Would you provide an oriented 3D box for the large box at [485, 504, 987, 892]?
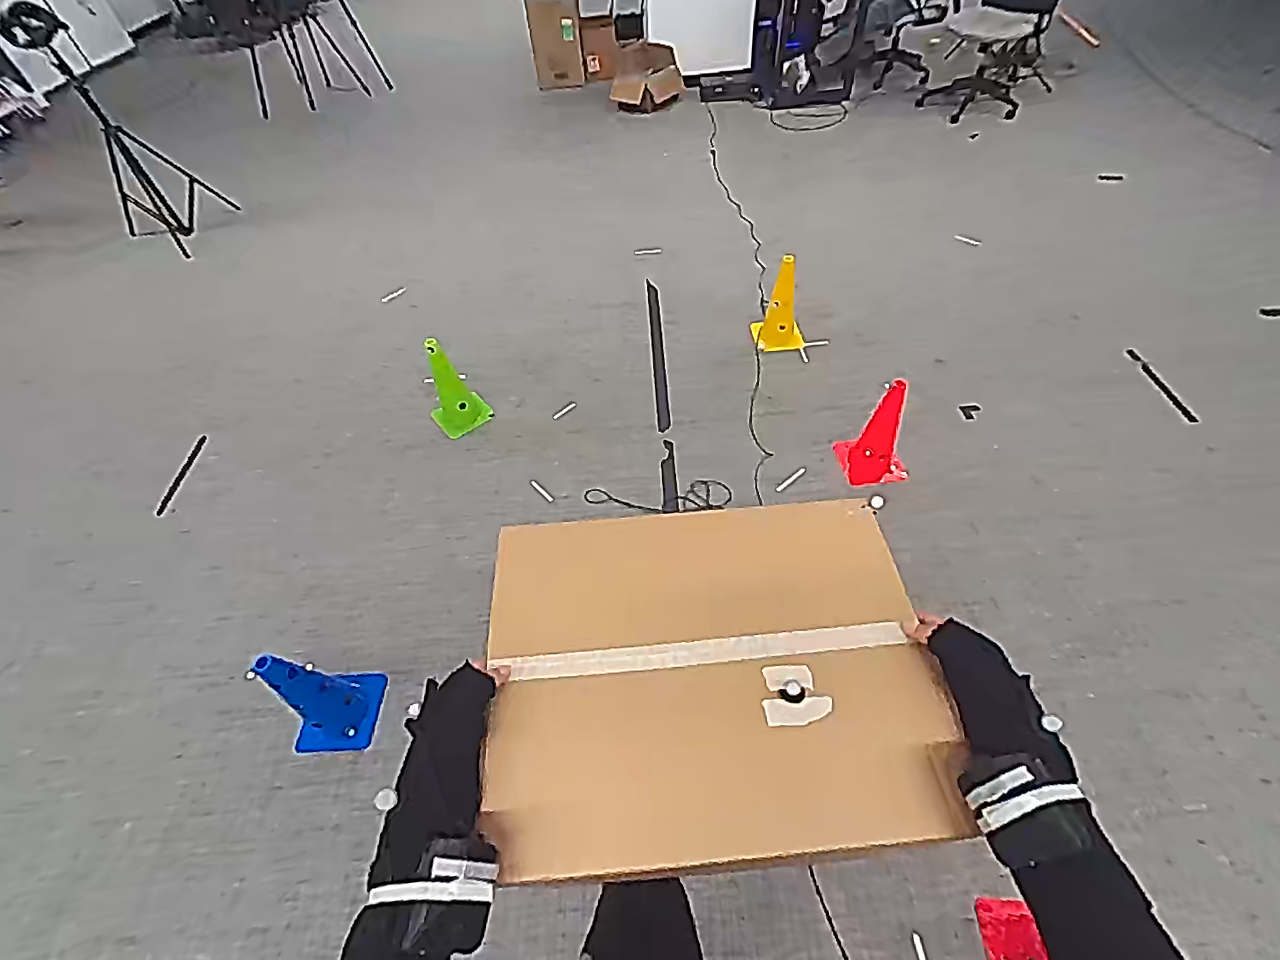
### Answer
[{"bbox_3d":[0.065,0.255,0.621,0.408,0.320,0.320,-5,52,-2],"label":"large box"}]

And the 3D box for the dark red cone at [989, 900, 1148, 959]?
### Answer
[{"bbox_3d":[0.773,0.822,0.894,0.201,0.394,0.202,-1,51,6],"label":"dark red cone"}]

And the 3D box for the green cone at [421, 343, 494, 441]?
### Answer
[{"bbox_3d":[-0.722,-0.357,2.017,0.202,0.368,0.200,-36,56,-20],"label":"green cone"}]

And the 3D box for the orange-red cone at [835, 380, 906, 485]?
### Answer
[{"bbox_3d":[0.778,-0.173,1.732,0.198,0.360,0.199,-6,49,-1],"label":"orange-red cone"}]

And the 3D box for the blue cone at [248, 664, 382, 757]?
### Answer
[{"bbox_3d":[-0.815,0.534,1.326,0.192,0.380,0.193,-3,51,4],"label":"blue cone"}]
